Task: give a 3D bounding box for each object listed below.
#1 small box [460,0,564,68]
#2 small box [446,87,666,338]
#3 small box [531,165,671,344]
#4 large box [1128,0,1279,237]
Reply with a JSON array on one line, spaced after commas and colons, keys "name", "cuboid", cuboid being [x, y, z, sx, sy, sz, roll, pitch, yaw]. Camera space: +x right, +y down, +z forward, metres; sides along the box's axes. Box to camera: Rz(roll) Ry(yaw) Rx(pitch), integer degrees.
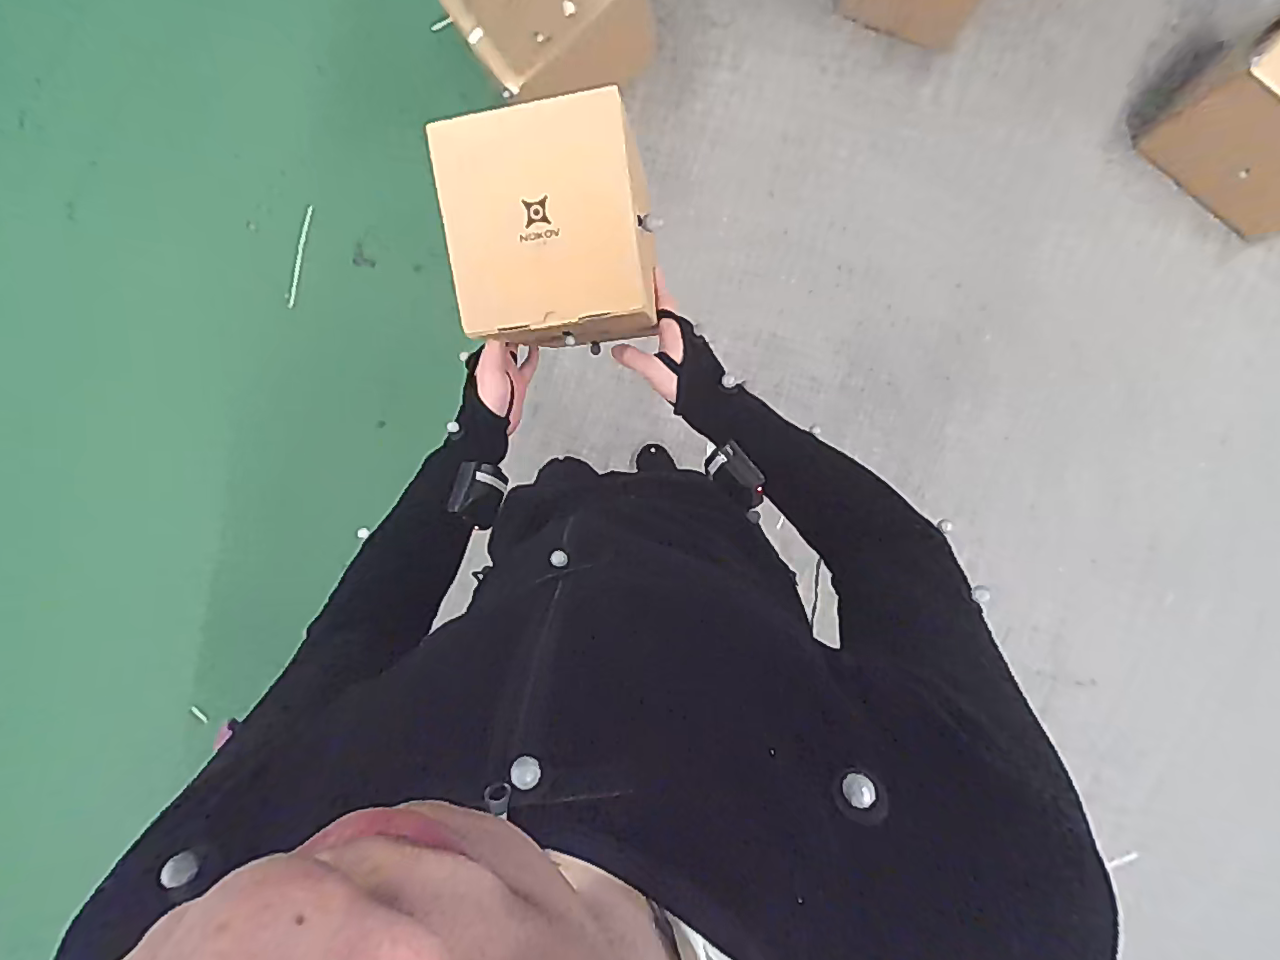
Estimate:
[{"name": "small box", "cuboid": [-0.288, -1.036, 1.139, 0.168, 0.176, 0.179, -38, 92, 9]}, {"name": "small box", "cuboid": [-0.065, -0.240, 0.533, 0.168, 0.176, 0.179, -5, 103, 7]}, {"name": "small box", "cuboid": [-0.050, -0.272, 0.691, 0.168, 0.176, 0.179, -4, 102, 6]}, {"name": "large box", "cuboid": [1.476, -0.835, 1.214, 0.408, 0.320, 0.320, 40, 99, 2]}]
